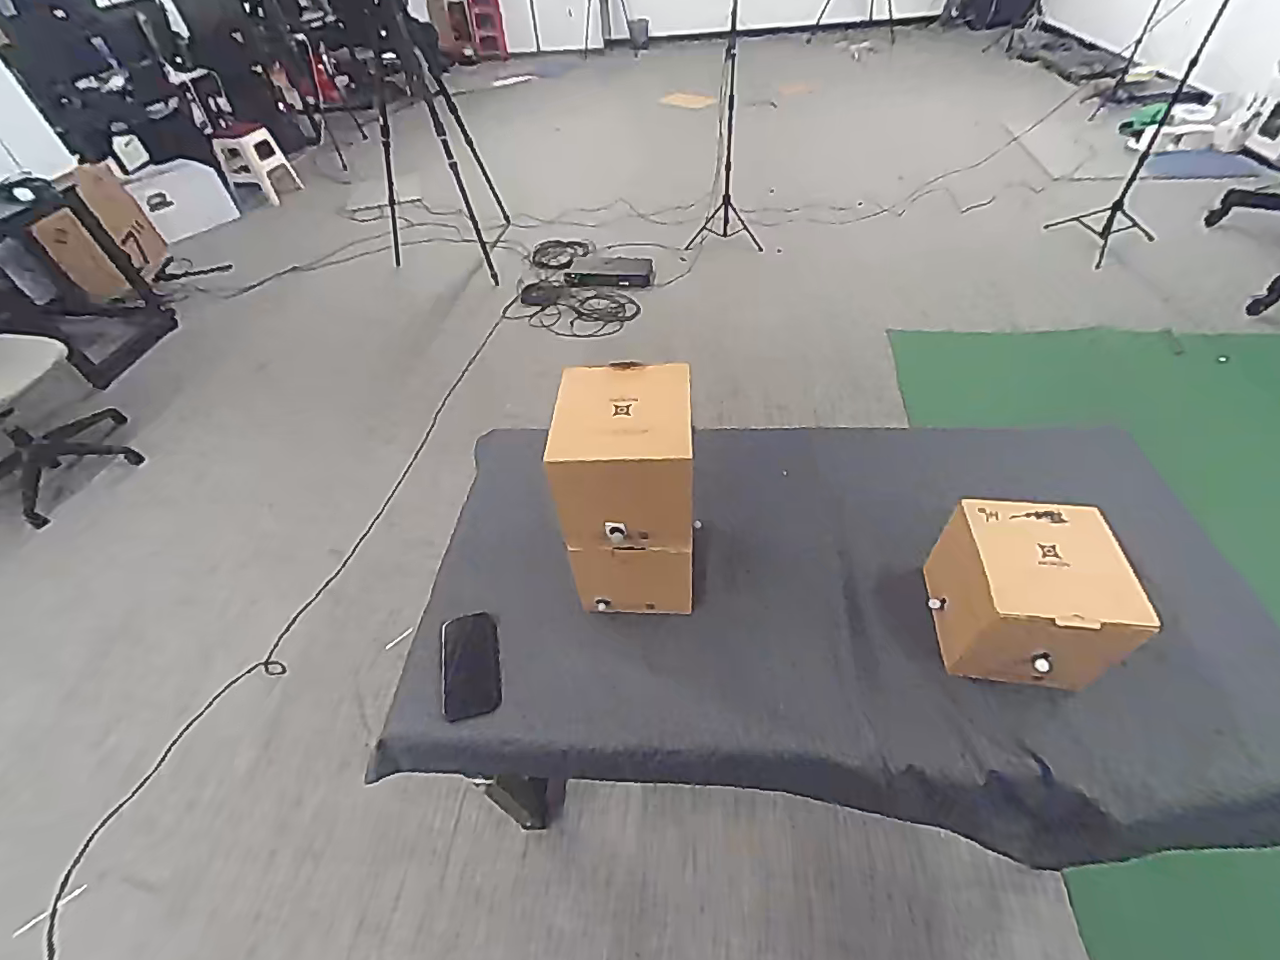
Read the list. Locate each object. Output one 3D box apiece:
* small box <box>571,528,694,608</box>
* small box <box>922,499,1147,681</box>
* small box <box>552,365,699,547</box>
[{"bbox_3d":[0.000,0.081,0.827,0.168,0.176,0.179,0,47,5],"label":"small box"},{"bbox_3d":[0.502,0.149,0.723,0.168,0.176,0.179,4,48,9],"label":"small box"},{"bbox_3d":[-0.010,-0.031,0.710,0.168,0.176,0.179,-2,48,4],"label":"small box"}]
